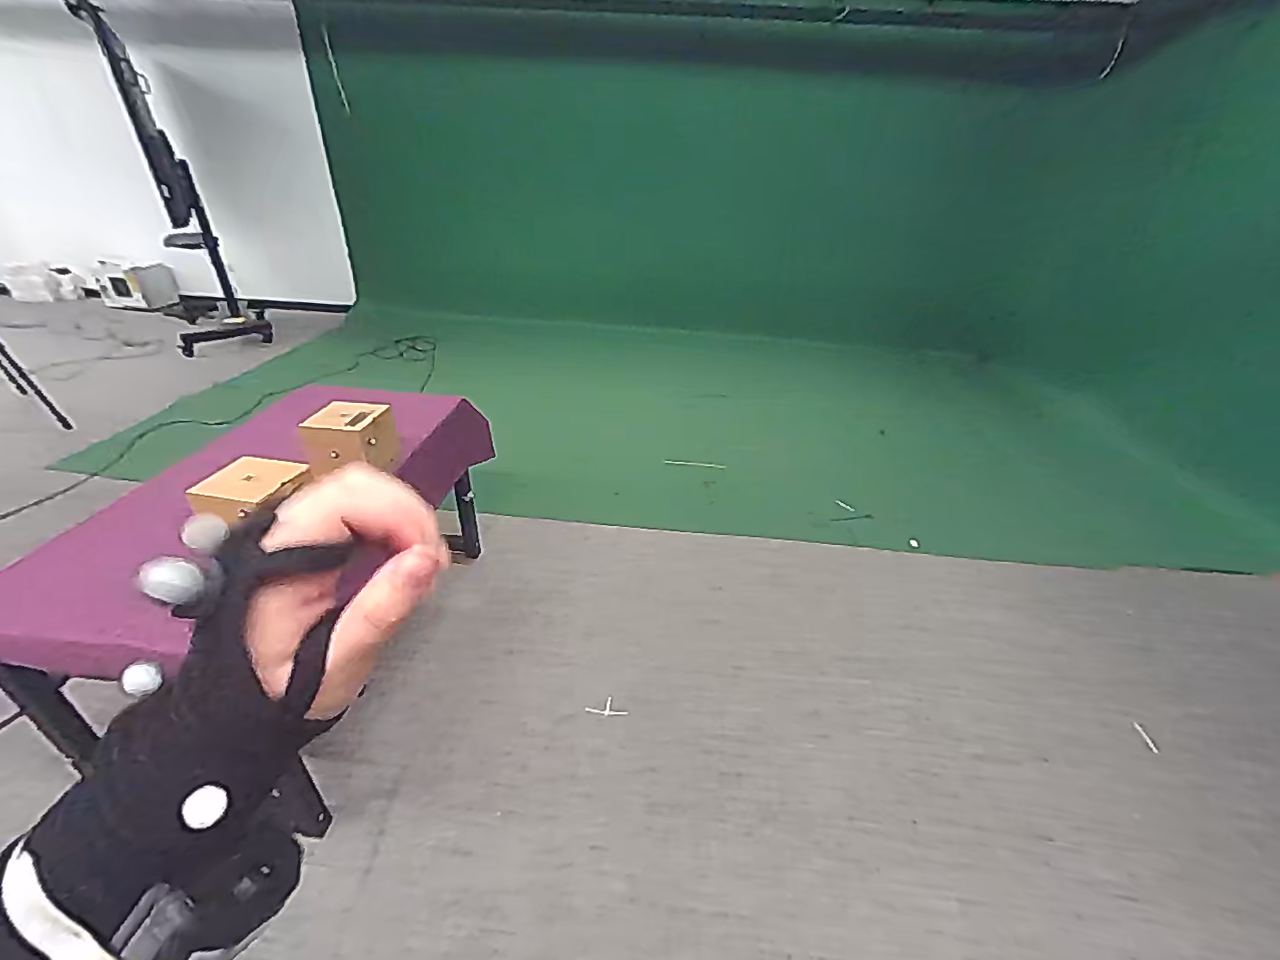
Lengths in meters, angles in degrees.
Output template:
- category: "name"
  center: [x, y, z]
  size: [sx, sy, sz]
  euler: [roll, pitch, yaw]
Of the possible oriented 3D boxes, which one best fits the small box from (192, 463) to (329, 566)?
- category: "small box"
  center: [-0.863, 0.079, 1.249]
  size: [0.179, 0.176, 0.168]
  euler: [7, 32, 7]
